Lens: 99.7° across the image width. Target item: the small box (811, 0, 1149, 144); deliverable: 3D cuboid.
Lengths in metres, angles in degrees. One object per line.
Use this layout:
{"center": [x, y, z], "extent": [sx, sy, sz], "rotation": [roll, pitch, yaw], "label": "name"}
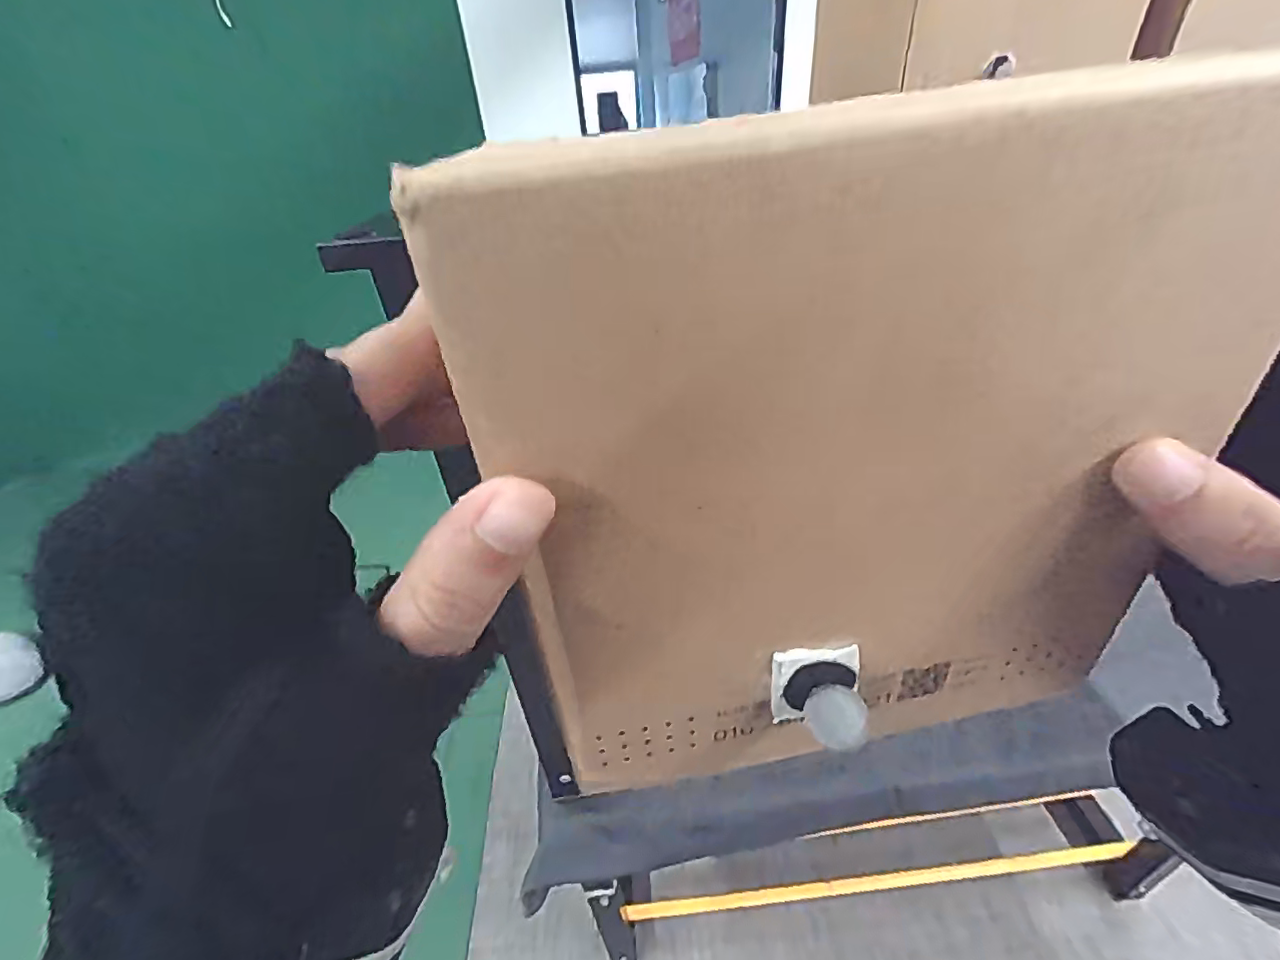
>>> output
{"center": [0.249, -0.337, 0.436], "extent": [0.168, 0.176, 0.179], "rotation": [-7, 35, -3], "label": "small box"}
